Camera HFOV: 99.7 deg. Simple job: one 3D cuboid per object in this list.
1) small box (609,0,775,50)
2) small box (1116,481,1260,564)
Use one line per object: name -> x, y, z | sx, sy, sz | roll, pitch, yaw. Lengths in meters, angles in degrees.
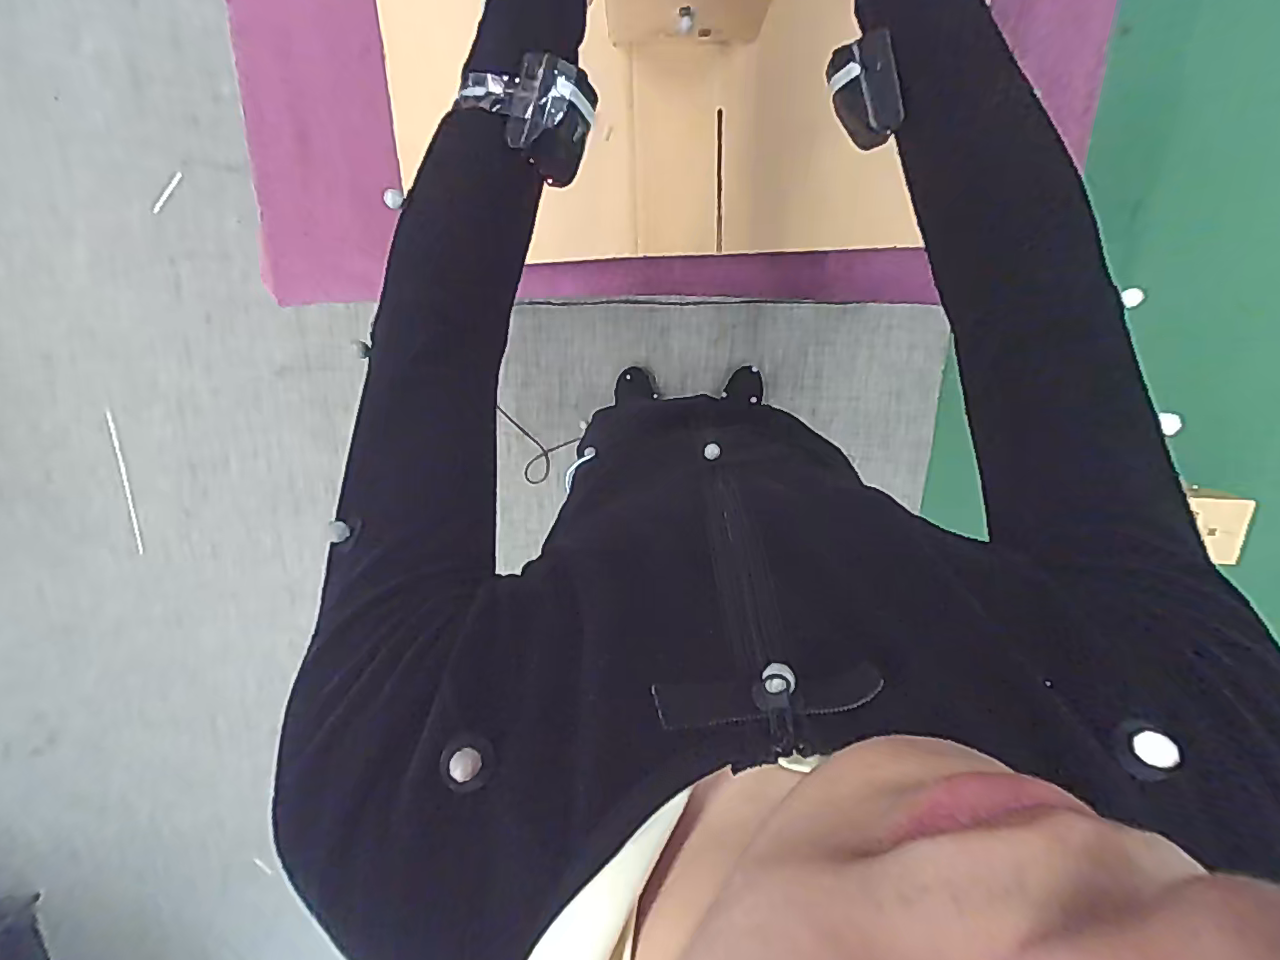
small box -> 0.050, -0.543, 0.499 | 0.168, 0.176, 0.179 | -1, 104, 0
small box -> 1.367, 0.102, 1.364 | 0.179, 0.176, 0.168 | 2, 104, 1
